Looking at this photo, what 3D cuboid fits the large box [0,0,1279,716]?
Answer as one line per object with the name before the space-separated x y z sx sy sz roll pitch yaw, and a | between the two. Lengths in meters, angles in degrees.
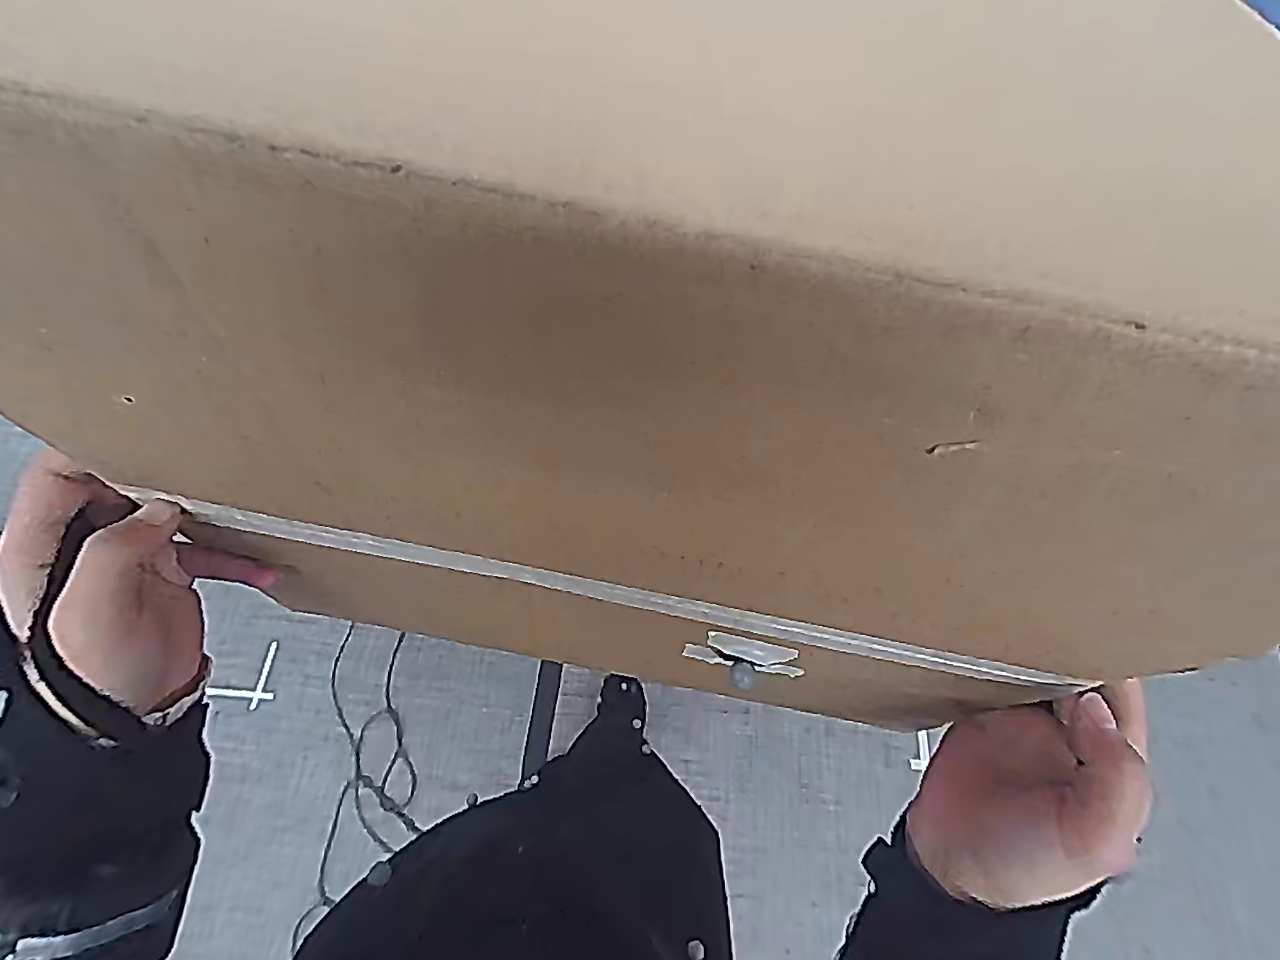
large box | 0.011 -0.085 0.309 0.408 0.320 0.320 11 59 -1
